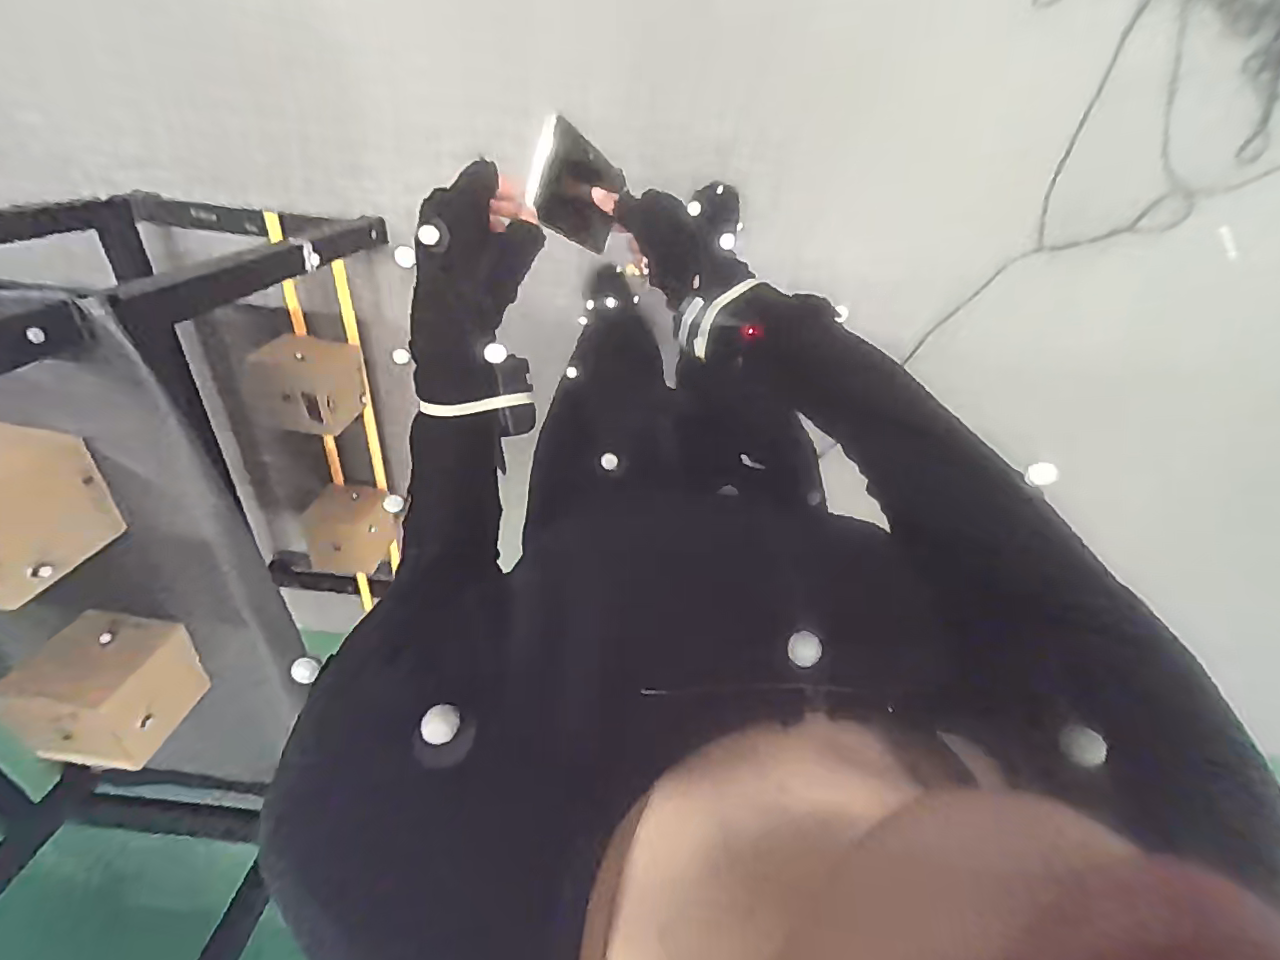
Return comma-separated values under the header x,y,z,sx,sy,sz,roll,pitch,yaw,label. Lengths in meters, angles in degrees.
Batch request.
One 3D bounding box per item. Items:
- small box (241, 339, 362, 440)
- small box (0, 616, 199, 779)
x,y,z,sx,sy,sz,roll,pitch,yaw,label
-0.769,-0.215,1.257,0.179,0.176,0.168,9,123,-2,small box
-0.881,0.354,0.889,0.168,0.176,0.179,9,123,-2,small box
